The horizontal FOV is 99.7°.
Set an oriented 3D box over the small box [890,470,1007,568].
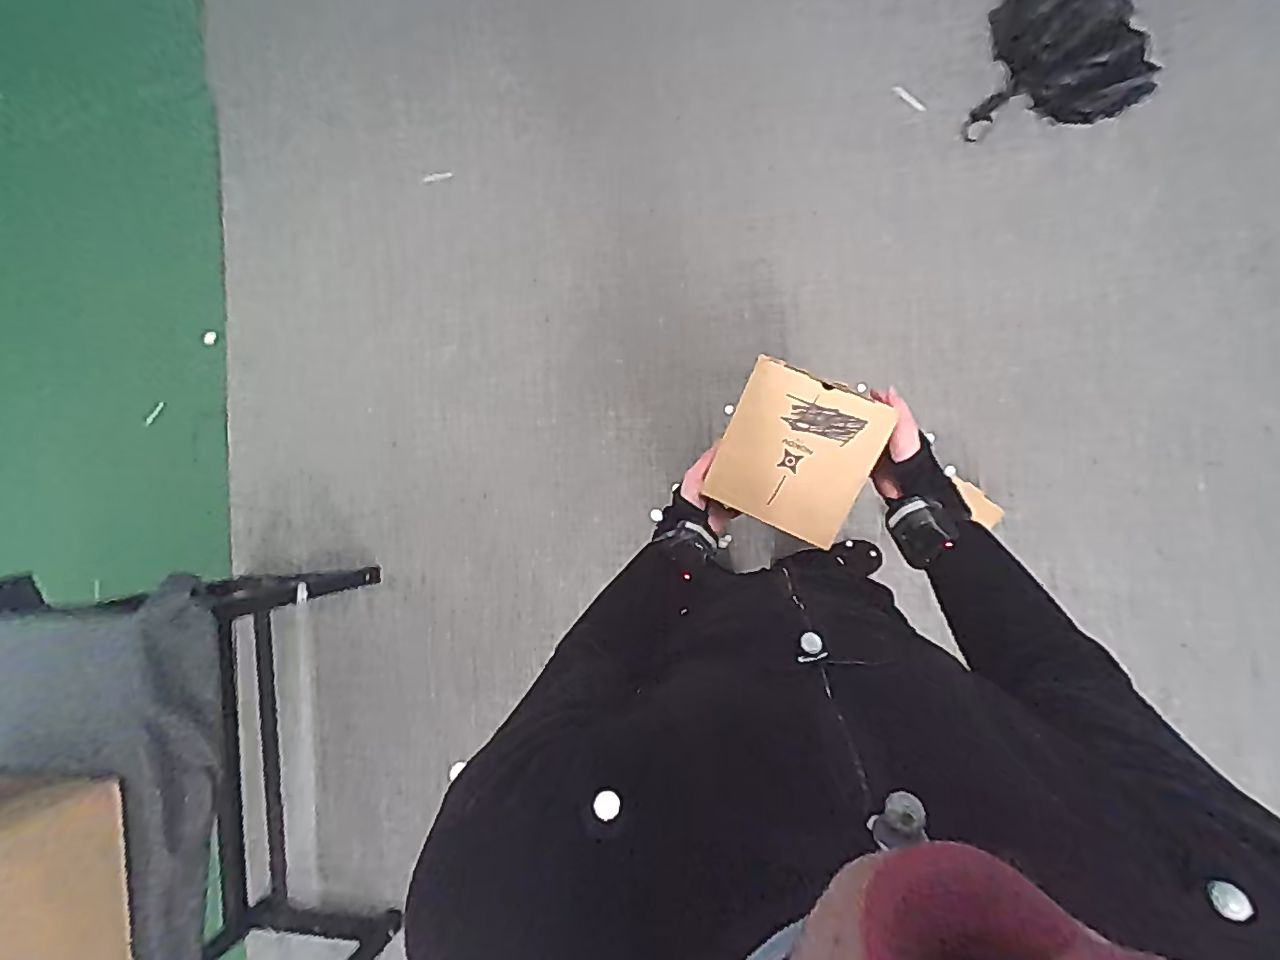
[{"bbox_3d":[0.754,0.092,1.348,0.168,0.176,0.179,40,99,13],"label":"small box"}]
